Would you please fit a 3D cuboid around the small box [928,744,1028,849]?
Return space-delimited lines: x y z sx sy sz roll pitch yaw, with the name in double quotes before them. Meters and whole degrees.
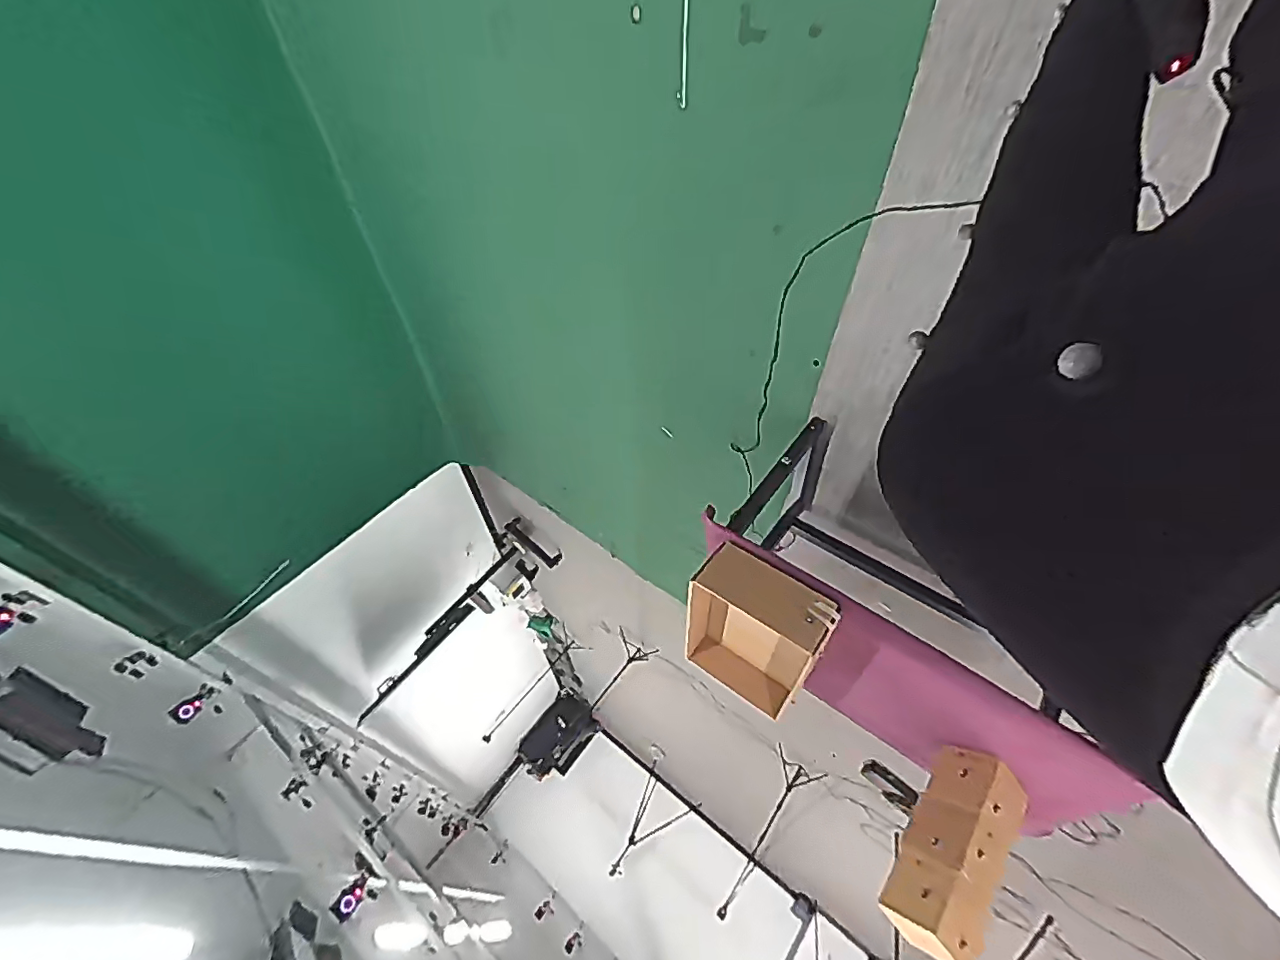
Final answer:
"small box" 0.969 0.893 1.547 0.179 0.176 0.168 51 151 -12

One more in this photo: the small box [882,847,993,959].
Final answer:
"small box" 0.768 1.097 1.394 0.179 0.176 0.168 51 150 -10

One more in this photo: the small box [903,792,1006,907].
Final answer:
"small box" 0.864 0.994 1.473 0.168 0.176 0.179 53 150 -11
